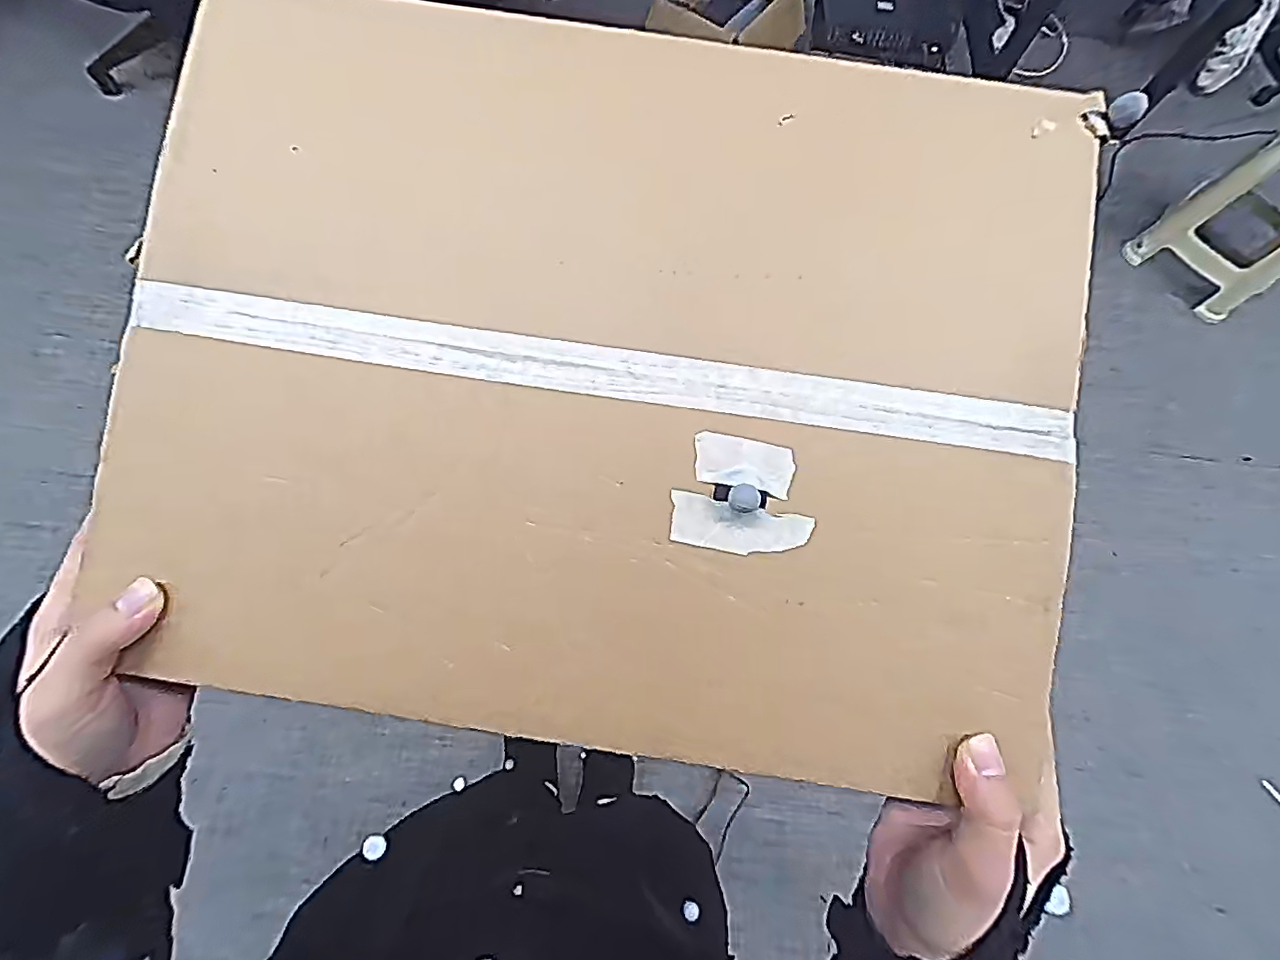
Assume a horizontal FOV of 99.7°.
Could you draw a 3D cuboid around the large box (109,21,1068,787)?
[{"bbox_3d":[-0.016,-0.031,0.392,0.408,0.320,0.320,9,87,0],"label":"large box"}]
